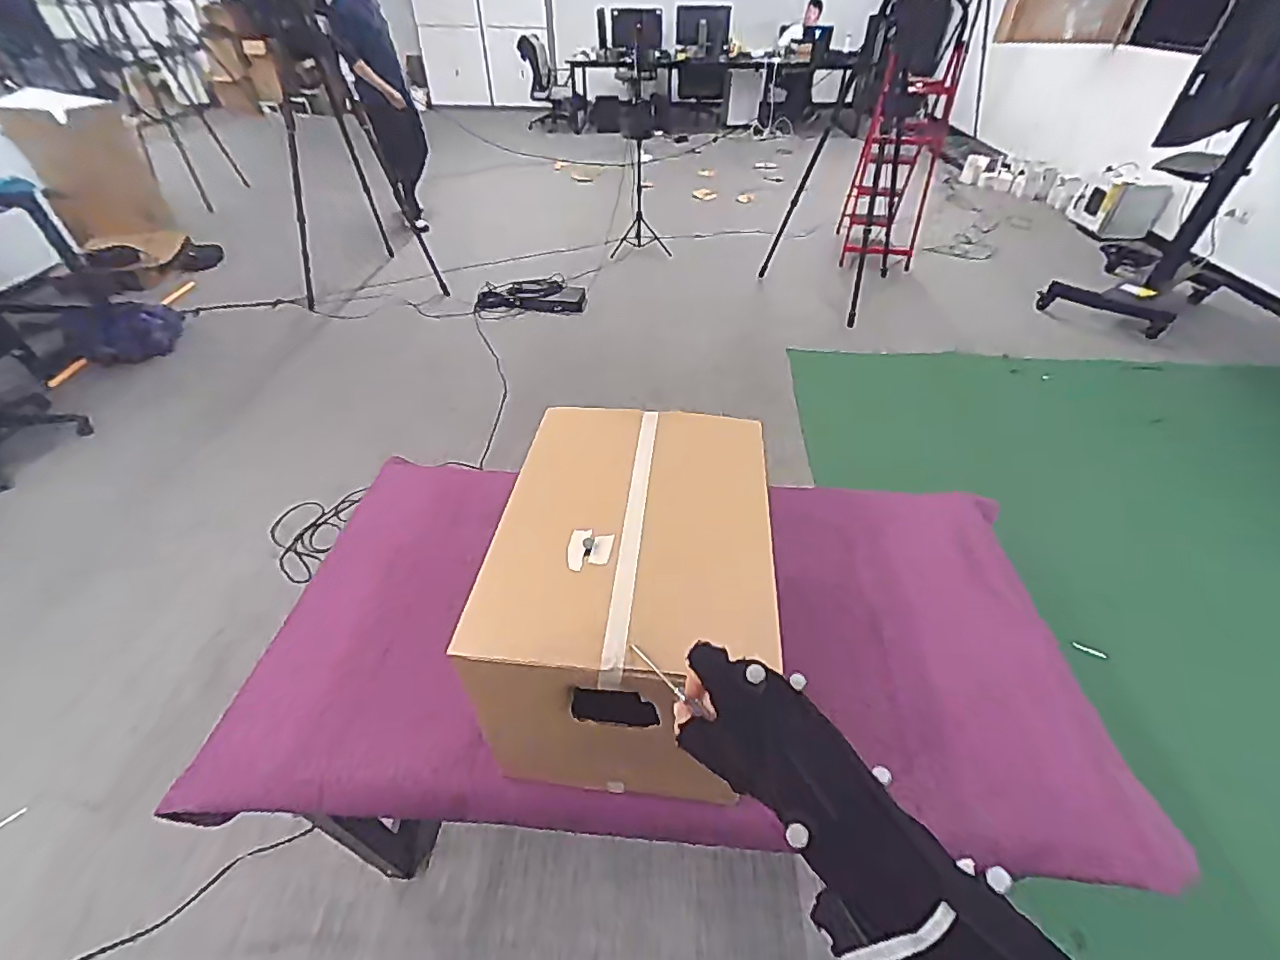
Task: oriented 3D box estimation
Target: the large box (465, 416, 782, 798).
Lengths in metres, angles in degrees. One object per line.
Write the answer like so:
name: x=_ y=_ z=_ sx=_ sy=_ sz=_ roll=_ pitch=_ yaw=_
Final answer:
large box: x=-0.004 y=0.160 z=0.754 sx=0.320 sy=0.320 sz=0.408 roll=5 pitch=43 yaw=4
